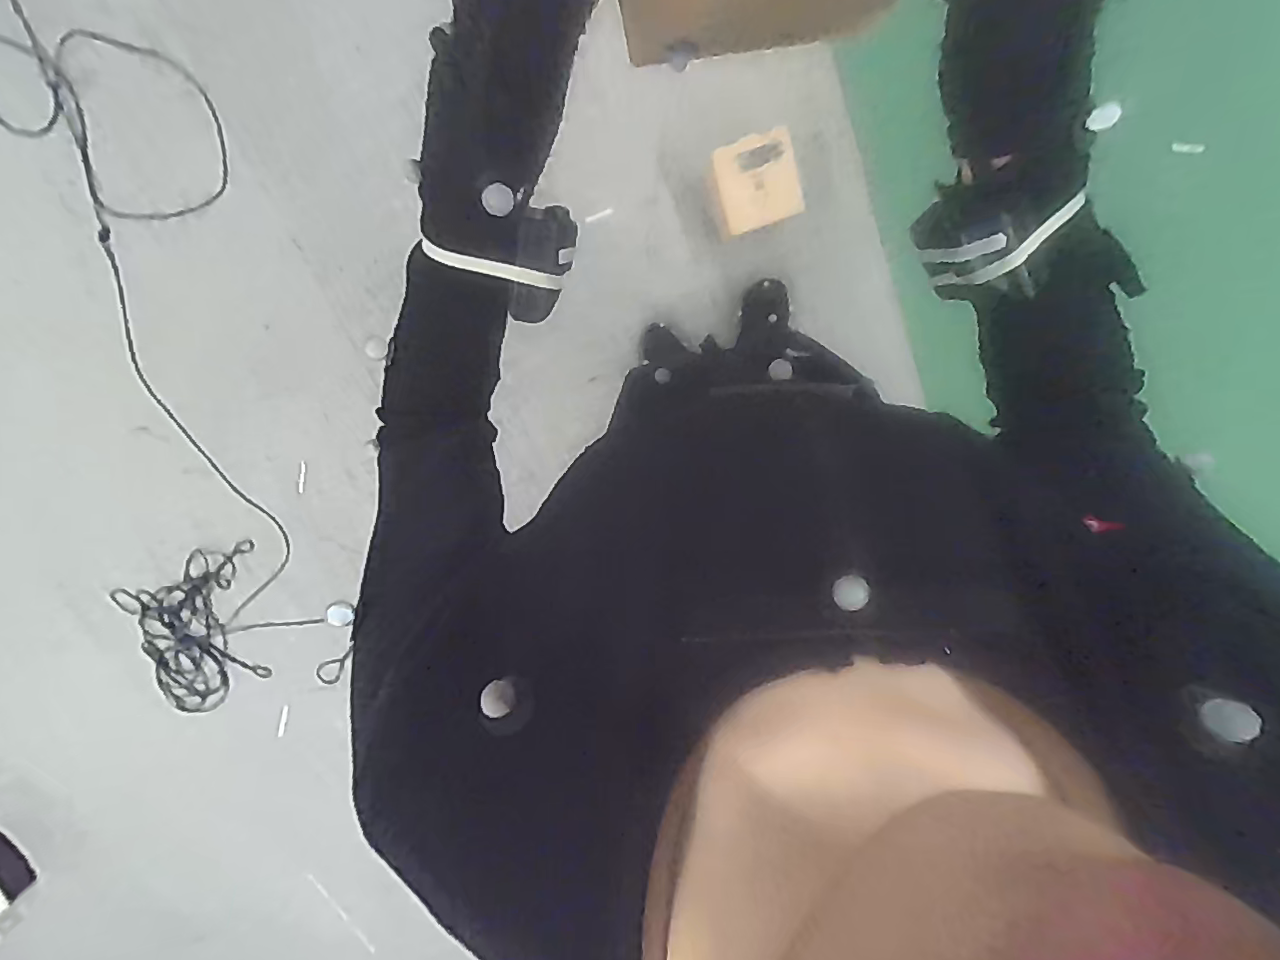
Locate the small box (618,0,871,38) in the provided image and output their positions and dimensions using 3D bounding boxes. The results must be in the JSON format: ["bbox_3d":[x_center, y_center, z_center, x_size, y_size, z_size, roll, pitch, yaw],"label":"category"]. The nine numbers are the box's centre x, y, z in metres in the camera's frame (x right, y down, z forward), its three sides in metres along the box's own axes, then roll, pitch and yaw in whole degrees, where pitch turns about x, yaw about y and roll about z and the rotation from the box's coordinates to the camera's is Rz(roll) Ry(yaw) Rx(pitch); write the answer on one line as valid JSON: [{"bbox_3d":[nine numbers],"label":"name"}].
[{"bbox_3d":[0.059,-0.353,0.262,0.168,0.176,0.179,-4,108,5],"label":"small box"}]
